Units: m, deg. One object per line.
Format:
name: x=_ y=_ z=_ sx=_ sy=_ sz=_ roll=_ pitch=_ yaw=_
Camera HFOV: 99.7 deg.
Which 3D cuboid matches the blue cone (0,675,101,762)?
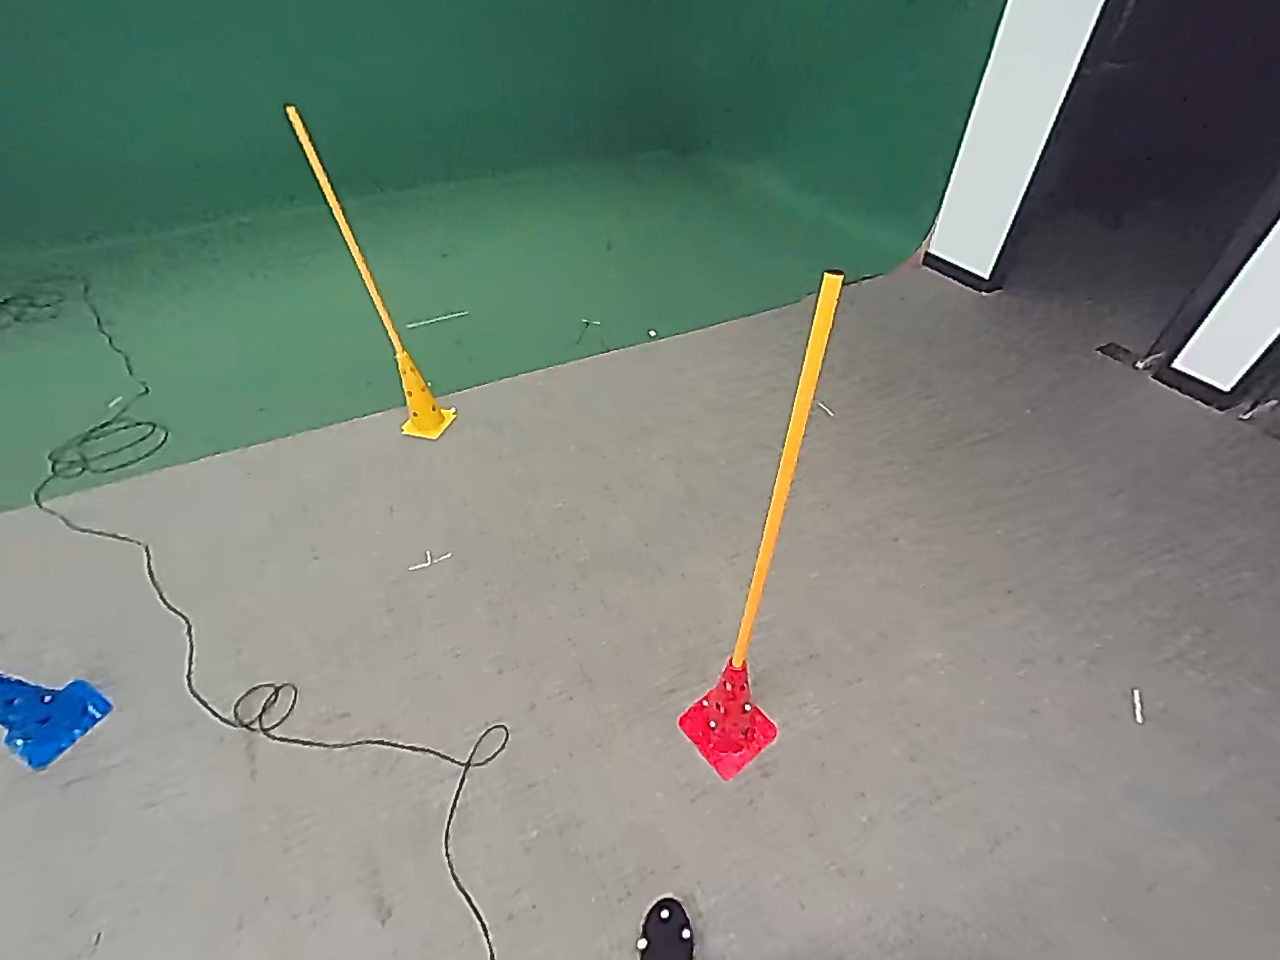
blue cone: x=-1.651 y=0.560 z=1.394 sx=0.192 sy=0.380 sz=0.193 roll=18 pitch=50 yaw=19
